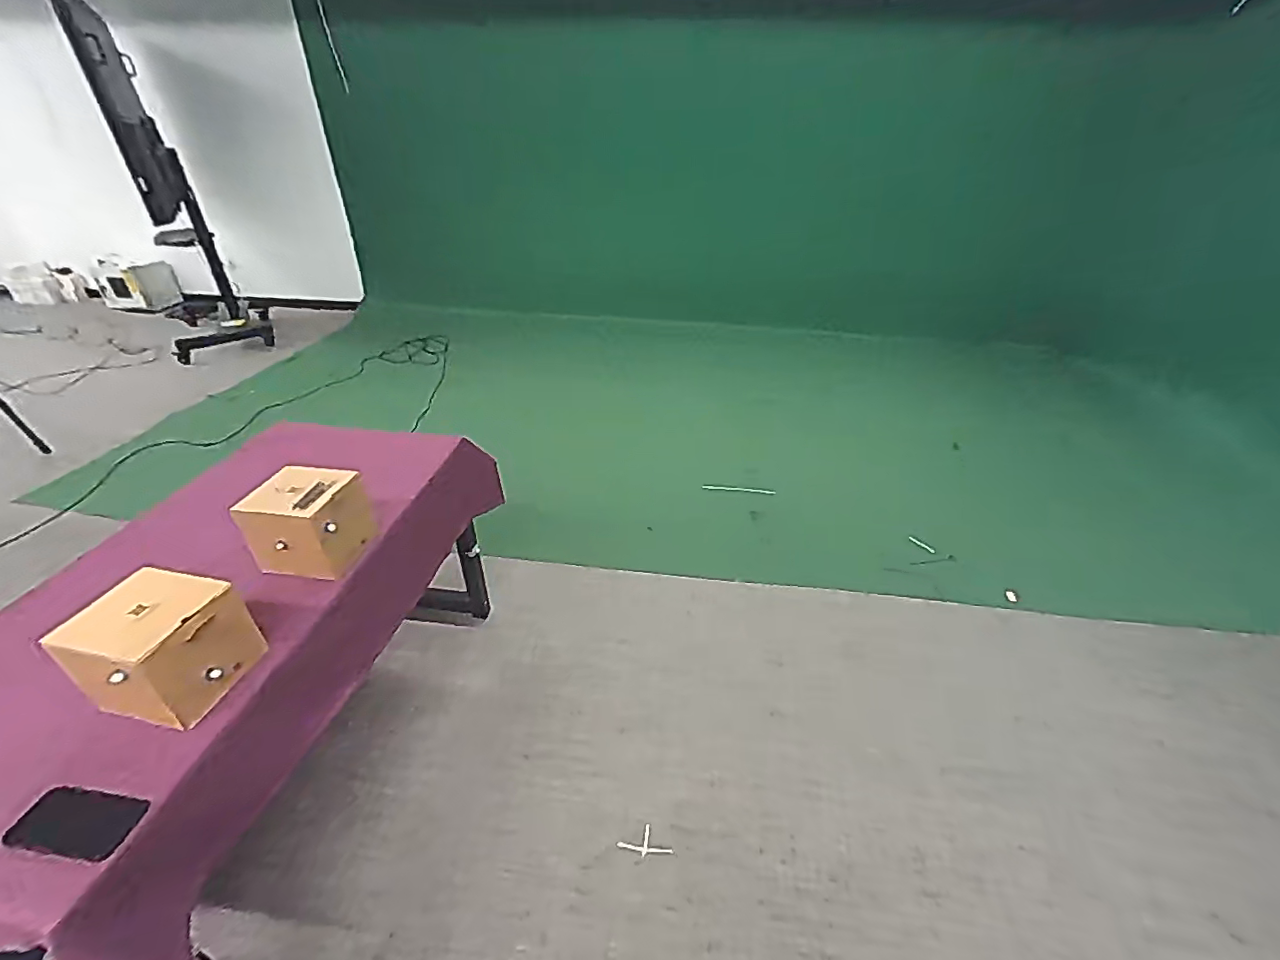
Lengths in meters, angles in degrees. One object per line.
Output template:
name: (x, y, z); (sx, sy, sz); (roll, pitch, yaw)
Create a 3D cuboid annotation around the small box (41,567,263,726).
small box: (-0.767, 0.267, 0.873); (0.179, 0.176, 0.168); (8, 34, 9)
